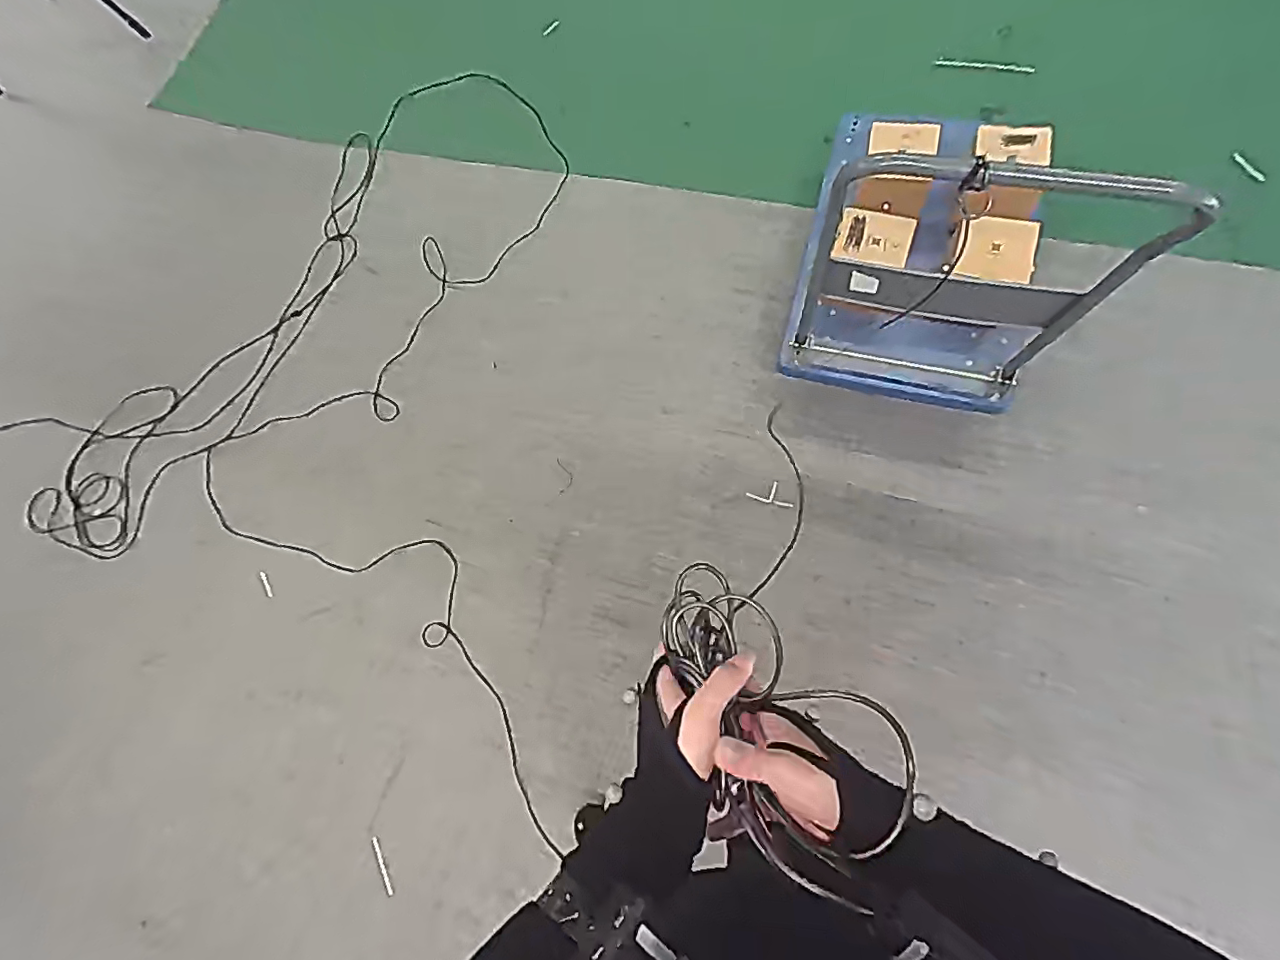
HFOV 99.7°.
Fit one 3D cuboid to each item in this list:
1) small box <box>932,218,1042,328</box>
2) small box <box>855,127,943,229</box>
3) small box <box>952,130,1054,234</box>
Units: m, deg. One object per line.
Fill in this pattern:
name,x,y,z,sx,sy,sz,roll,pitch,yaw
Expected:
small box,0.846,-0.506,1.334,0.168,0.176,0.179,15,78,13
small box,0.684,-0.802,1.446,0.168,0.176,0.179,11,76,12
small box,0.926,-0.758,1.392,0.168,0.176,0.179,11,77,13
